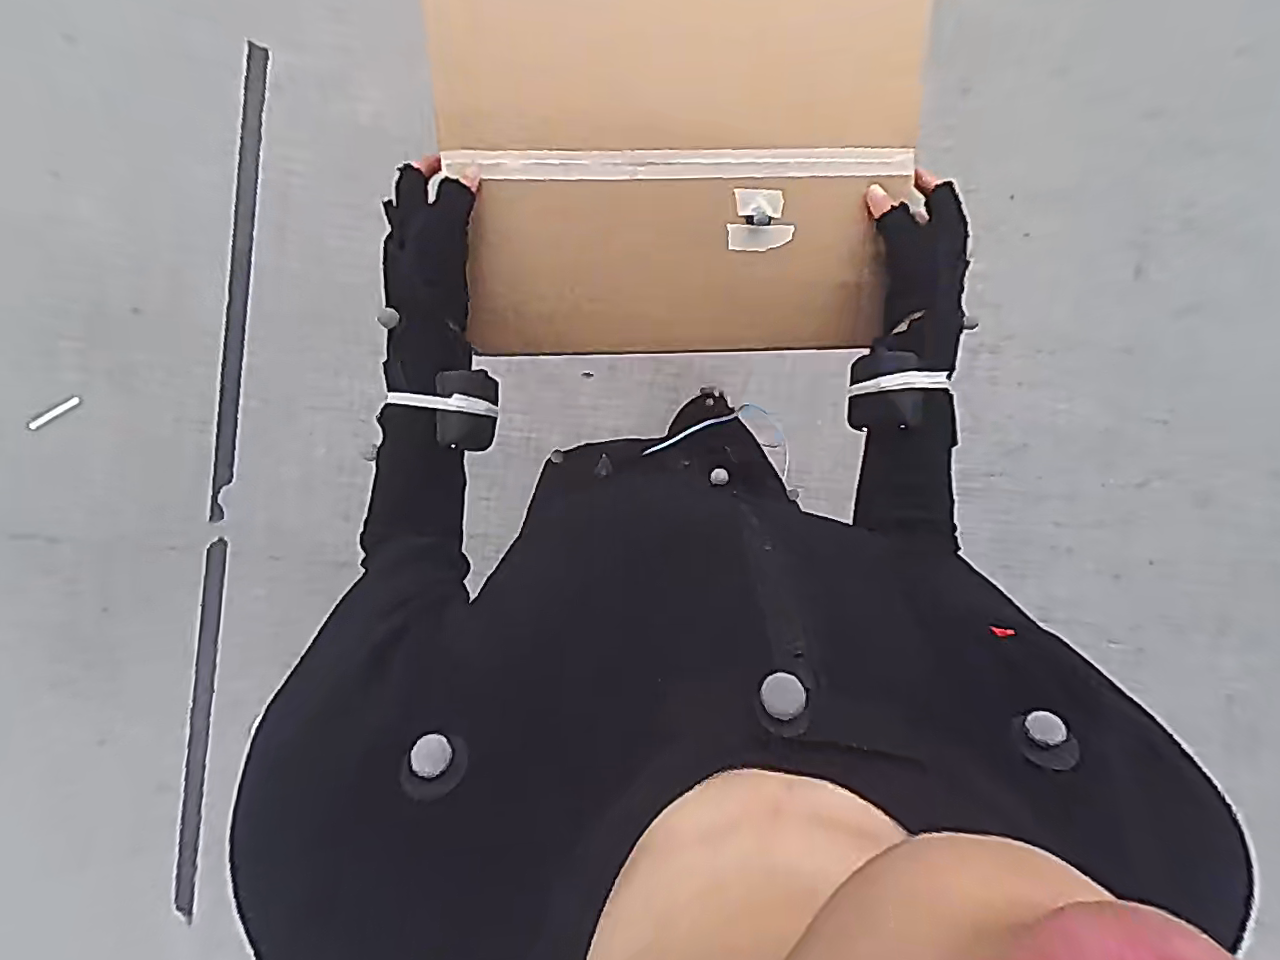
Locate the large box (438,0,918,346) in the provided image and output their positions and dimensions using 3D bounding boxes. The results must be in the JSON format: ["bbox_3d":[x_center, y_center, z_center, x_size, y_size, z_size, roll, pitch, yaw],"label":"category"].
[{"bbox_3d":[0.026,-0.329,0.620,0.408,0.320,0.320,-2,109,-4],"label":"large box"}]
